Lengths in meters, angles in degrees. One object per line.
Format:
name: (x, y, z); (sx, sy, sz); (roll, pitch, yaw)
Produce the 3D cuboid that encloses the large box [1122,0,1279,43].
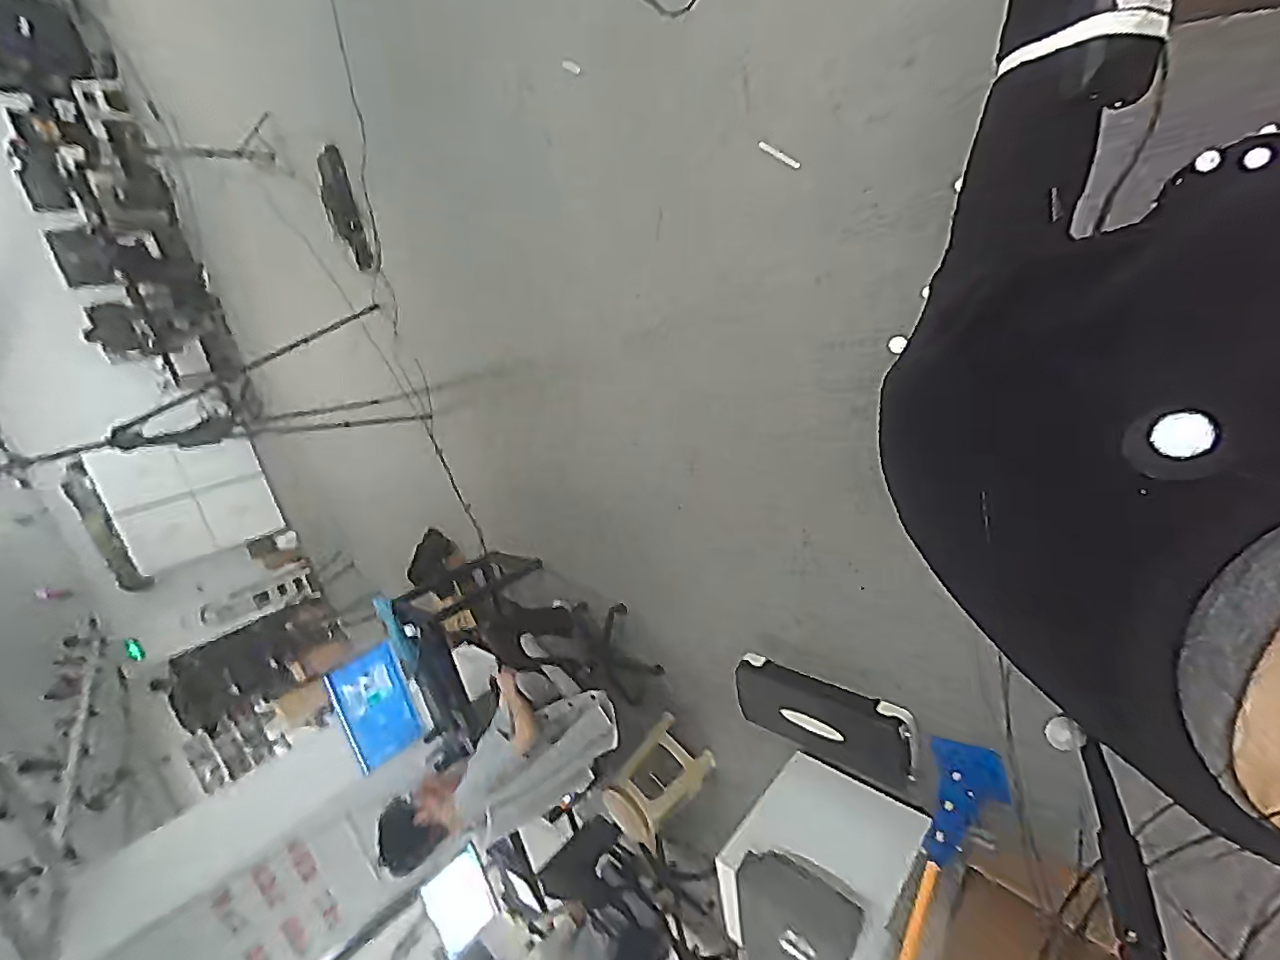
large box: (0.560, -0.488, 0.282); (0.408, 0.320, 0.320); (16, 121, 35)
